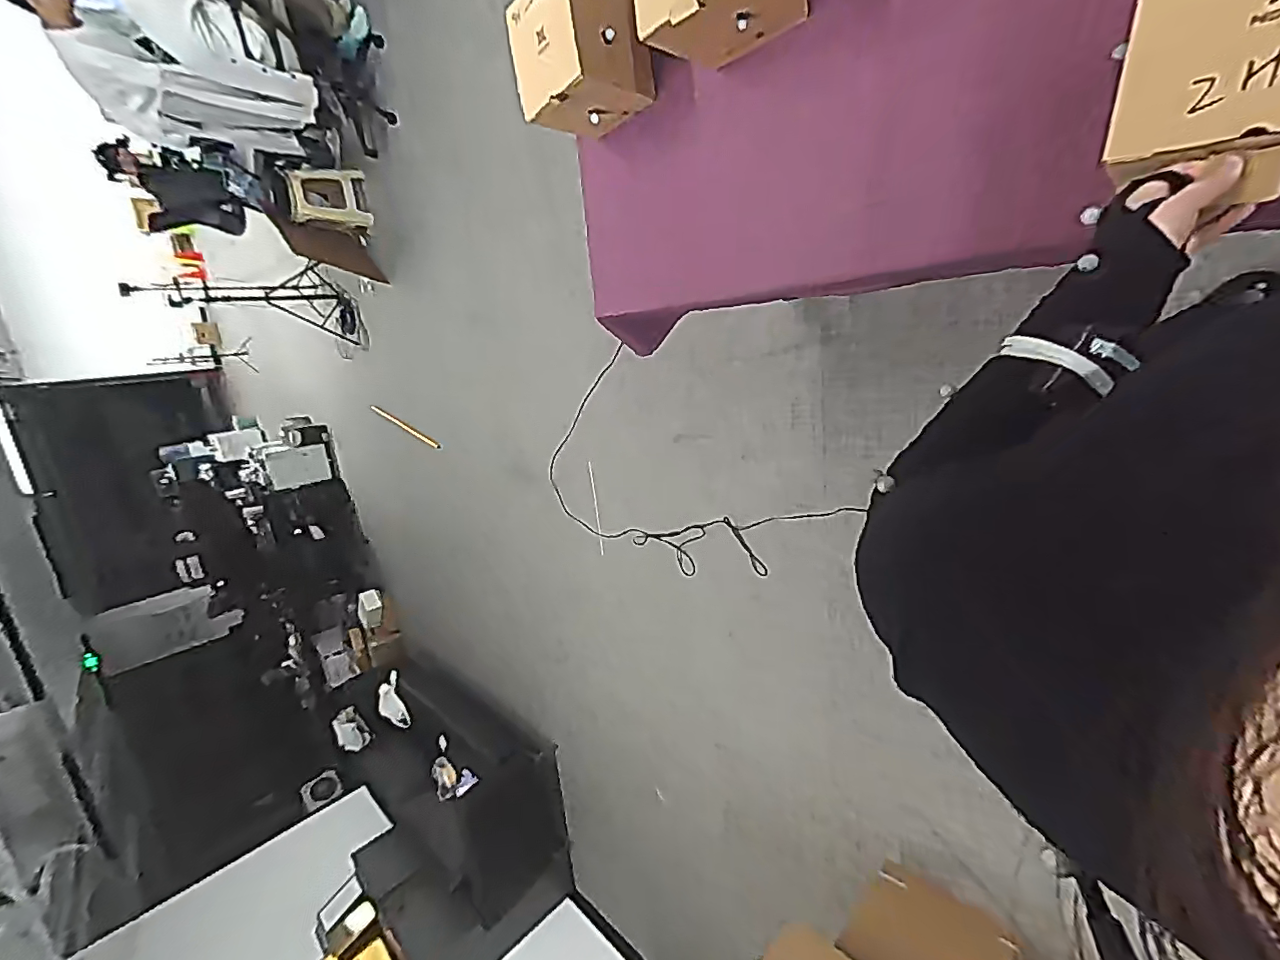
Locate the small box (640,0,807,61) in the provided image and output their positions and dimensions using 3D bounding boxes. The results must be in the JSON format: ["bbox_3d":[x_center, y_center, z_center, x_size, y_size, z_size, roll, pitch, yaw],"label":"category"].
[{"bbox_3d":[0.111,-0.697,0.719,0.168,0.176,0.179,9,111,45],"label":"small box"}]

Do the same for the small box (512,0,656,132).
[{"bbox_3d":[-0.090,-0.726,0.929,0.168,0.176,0.179,2,107,46],"label":"small box"}]

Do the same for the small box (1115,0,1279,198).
[{"bbox_3d":[0.496,-0.336,0.409,0.168,0.176,0.179,18,110,44],"label":"small box"}]
